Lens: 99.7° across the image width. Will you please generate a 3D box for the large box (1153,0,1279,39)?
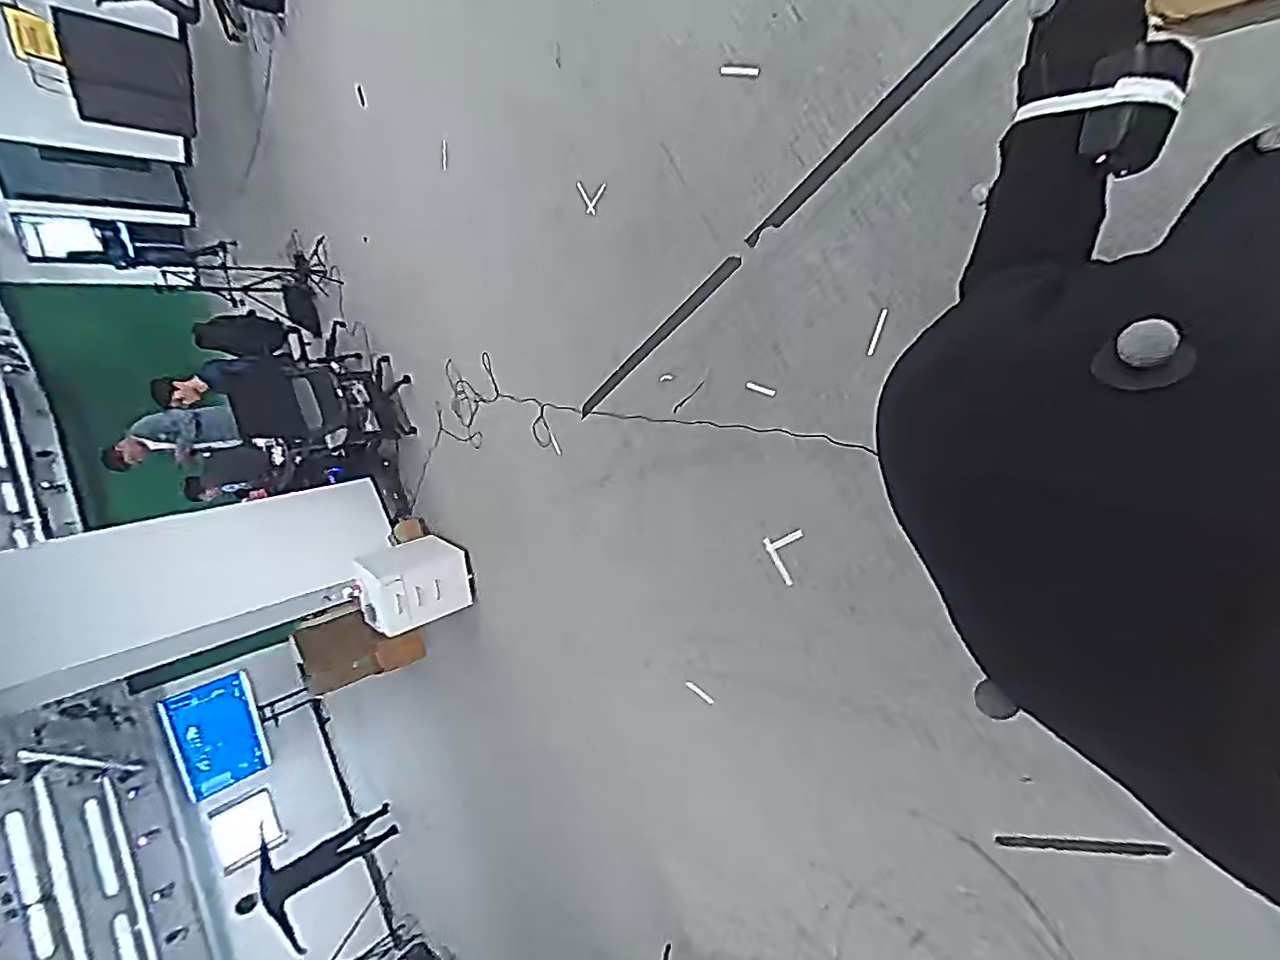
[{"bbox_3d":[0.557,-0.479,0.259,0.408,0.320,0.320,14,127,43],"label":"large box"}]
